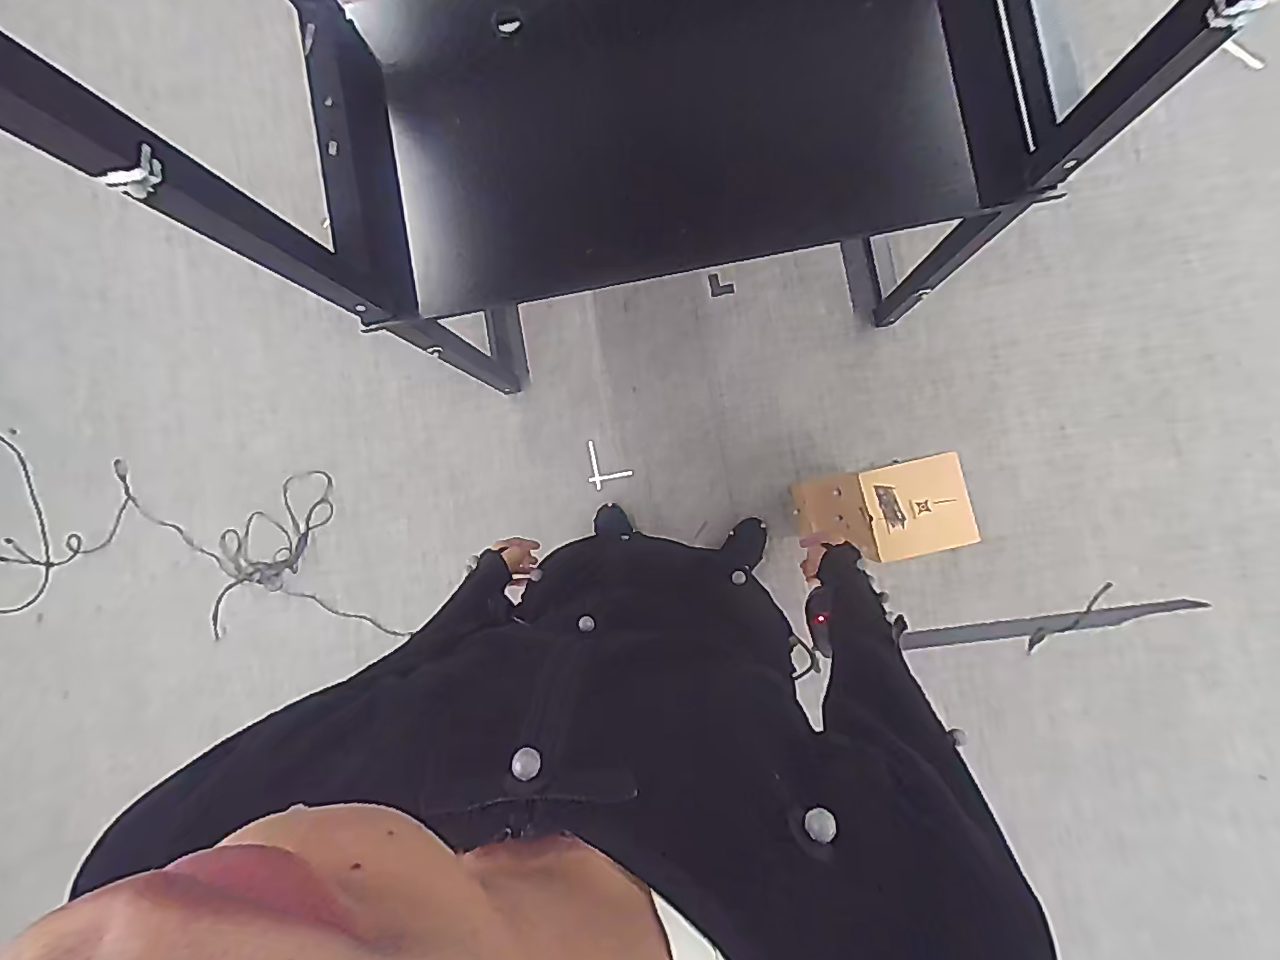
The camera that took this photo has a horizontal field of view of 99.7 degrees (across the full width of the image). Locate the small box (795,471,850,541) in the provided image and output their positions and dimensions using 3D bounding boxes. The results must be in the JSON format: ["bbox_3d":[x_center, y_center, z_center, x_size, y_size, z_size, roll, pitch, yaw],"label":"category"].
[{"bbox_3d":[0.546,0.068,1.505,0.179,0.176,0.168,-11,87,6],"label":"small box"}]

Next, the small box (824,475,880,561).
[{"bbox_3d":[0.518,0.066,1.179,0.168,0.176,0.179,-13,87,6],"label":"small box"}]

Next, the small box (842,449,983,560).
[{"bbox_3d":[0.495,0.047,1.016,0.179,0.176,0.168,-13,88,5],"label":"small box"}]
